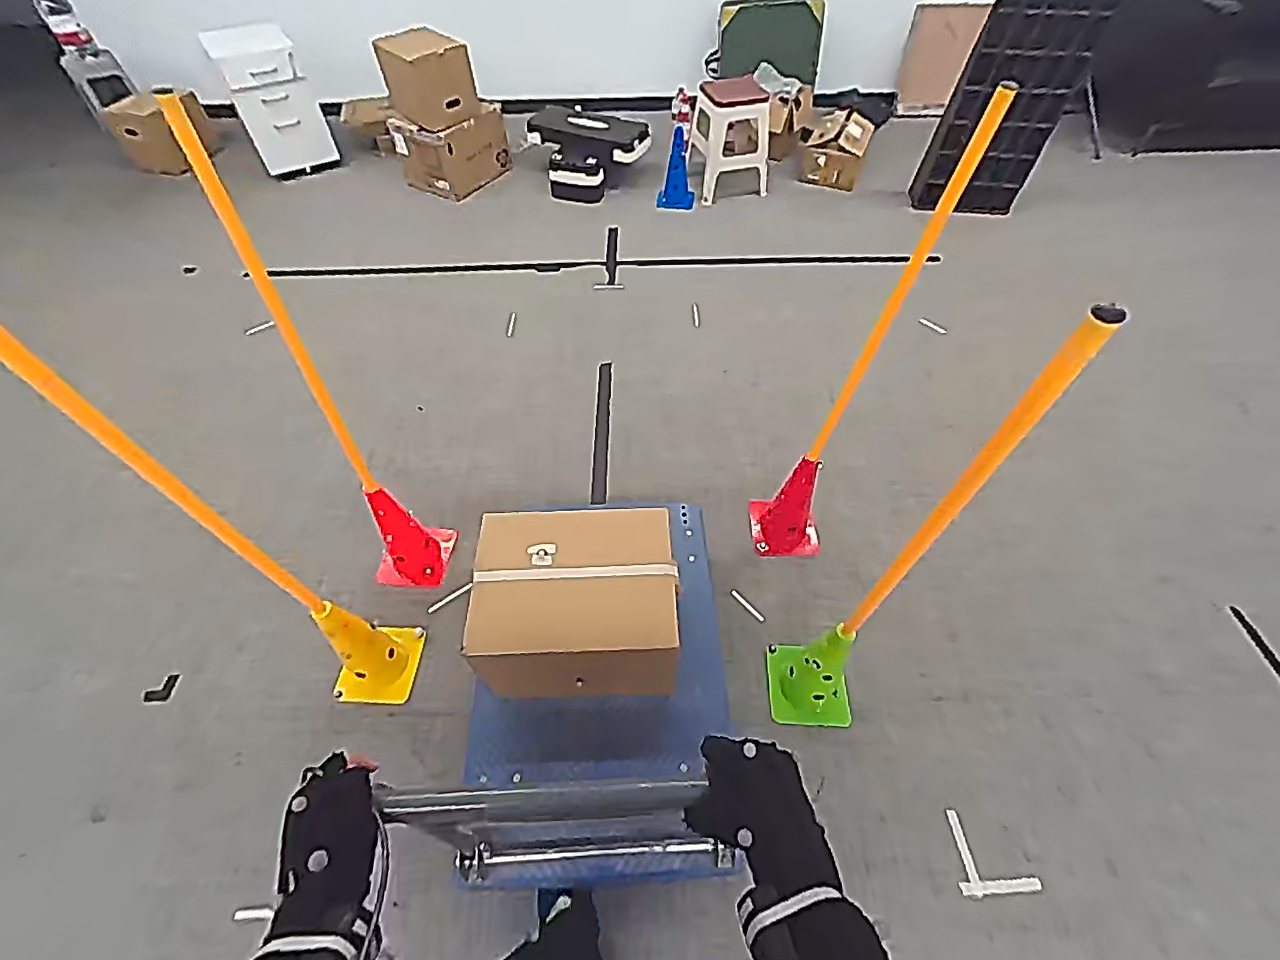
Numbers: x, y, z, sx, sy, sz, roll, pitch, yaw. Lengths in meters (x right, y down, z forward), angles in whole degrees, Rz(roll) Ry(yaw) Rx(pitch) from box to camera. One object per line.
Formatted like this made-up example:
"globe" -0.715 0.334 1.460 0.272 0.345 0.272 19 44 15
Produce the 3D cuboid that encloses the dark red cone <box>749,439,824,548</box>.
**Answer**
"dark red cone" 0.453 0.027 1.560 0.201 0.394 0.202 1 53 -2

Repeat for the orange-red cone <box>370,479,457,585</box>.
"orange-red cone" -0.677 0.118 1.519 0.198 0.360 0.199 6 52 4

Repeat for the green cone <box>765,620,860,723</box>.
"green cone" 0.436 0.425 1.282 0.202 0.368 0.200 3 53 1

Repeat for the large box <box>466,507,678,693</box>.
"large box" -0.129 0.278 1.215 0.408 0.320 0.320 -2 54 0
